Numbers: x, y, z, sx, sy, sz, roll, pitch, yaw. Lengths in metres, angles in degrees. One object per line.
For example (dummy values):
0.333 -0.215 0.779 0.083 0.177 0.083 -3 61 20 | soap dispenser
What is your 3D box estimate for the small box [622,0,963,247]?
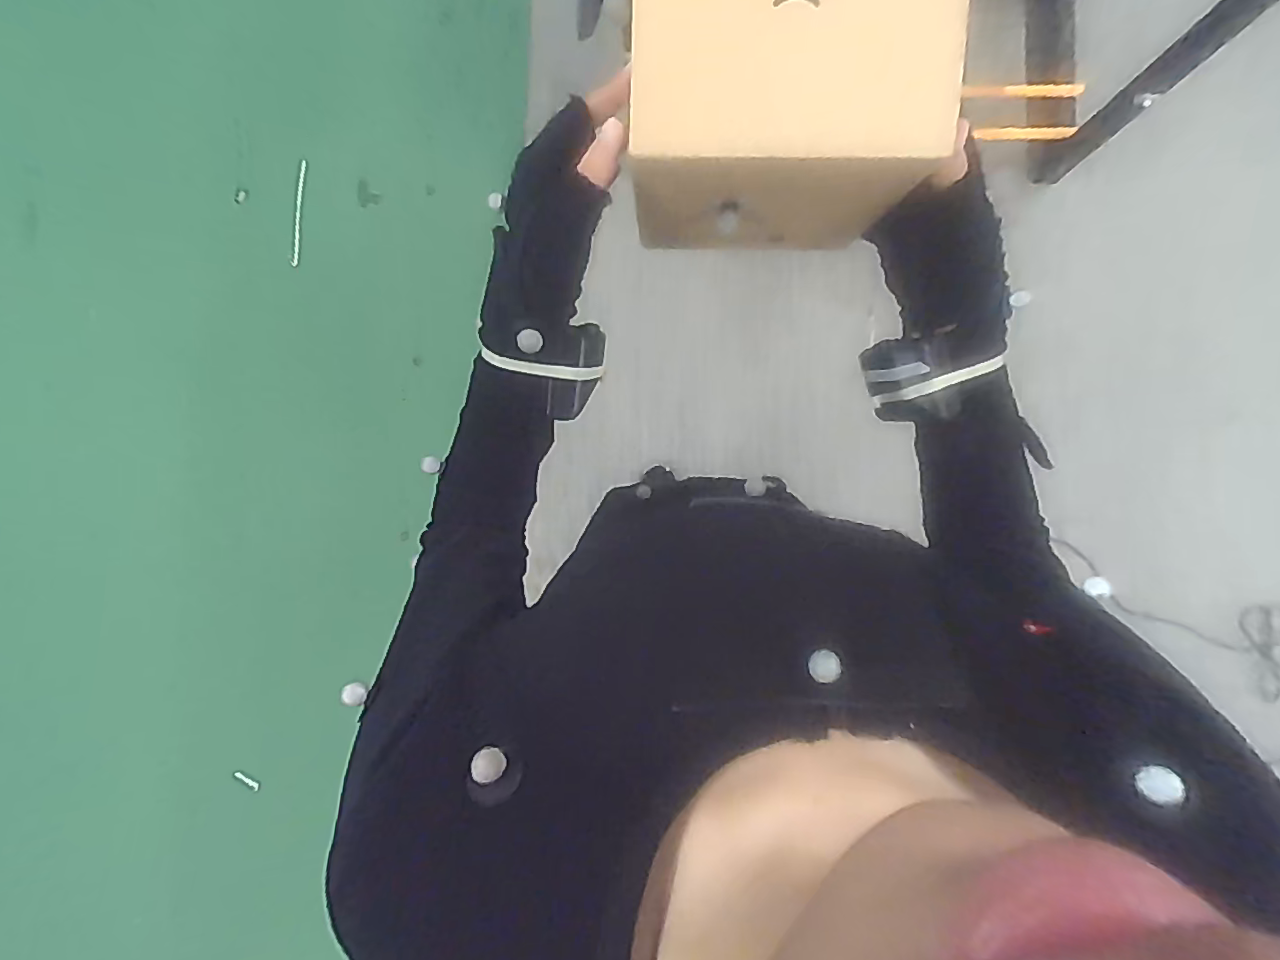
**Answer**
0.080 -0.259 0.342 0.168 0.176 0.179 2 96 3 | small box
